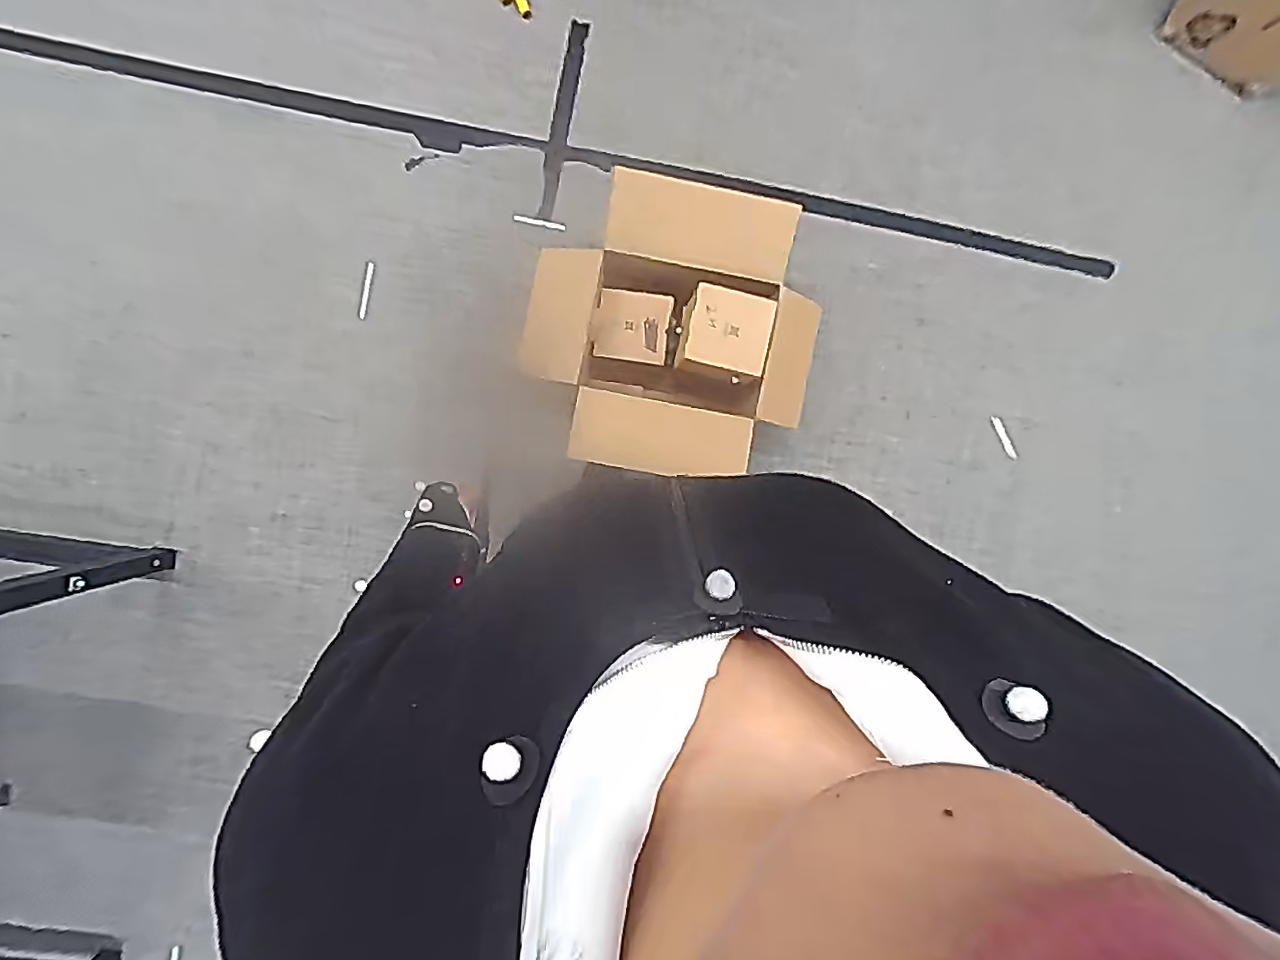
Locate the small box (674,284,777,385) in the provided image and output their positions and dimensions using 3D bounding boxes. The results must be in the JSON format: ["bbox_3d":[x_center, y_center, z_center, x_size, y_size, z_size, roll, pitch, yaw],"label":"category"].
[{"bbox_3d":[0.186,-0.319,1.227,0.179,0.176,0.168,13,91,-4],"label":"small box"}]
